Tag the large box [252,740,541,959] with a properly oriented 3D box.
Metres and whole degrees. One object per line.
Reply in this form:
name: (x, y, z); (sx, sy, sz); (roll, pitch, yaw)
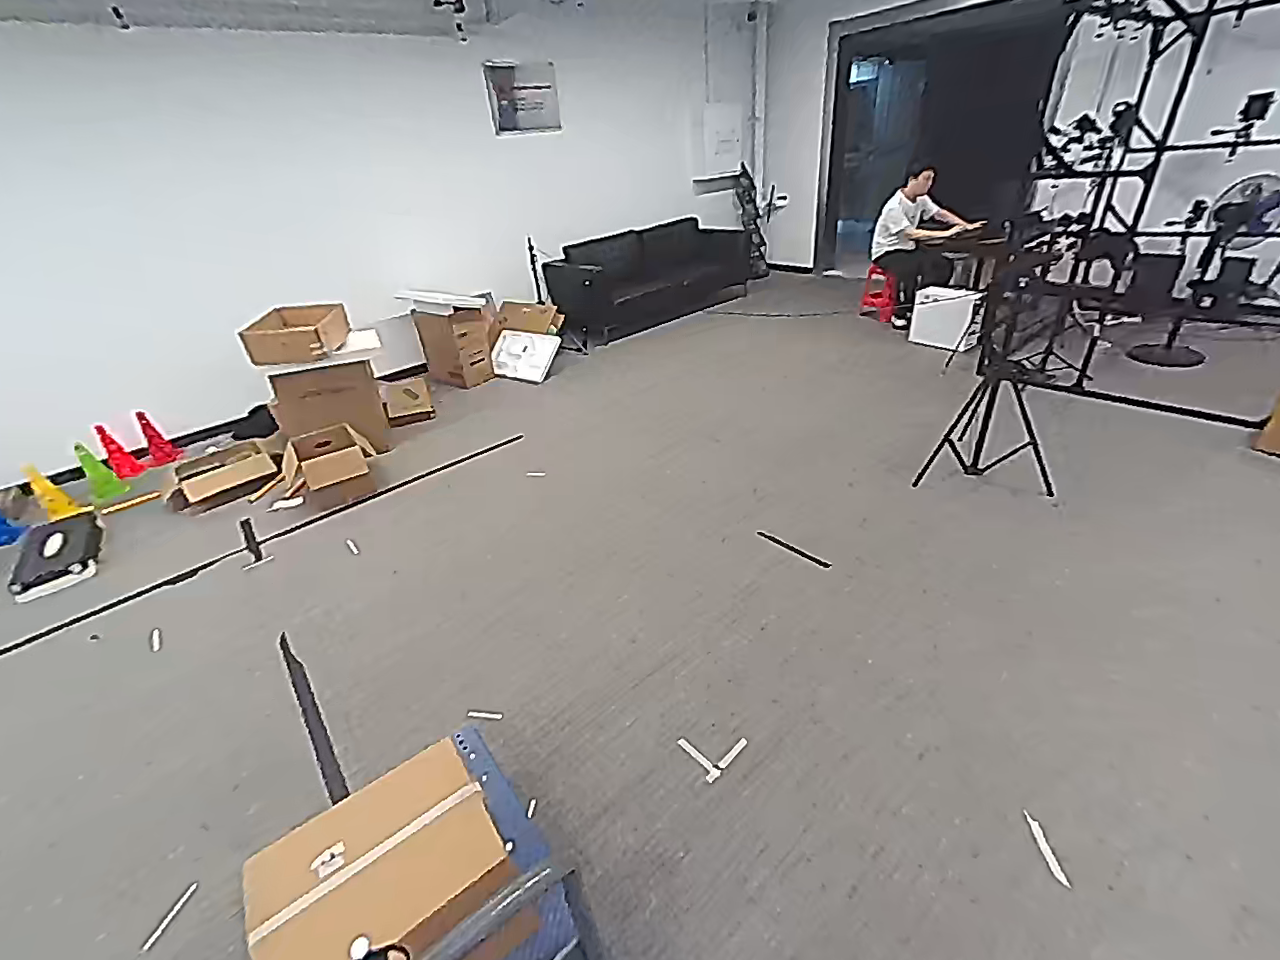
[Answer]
large box: (-0.467, 0.835, 1.083); (0.408, 0.320, 0.320); (-26, 35, -28)
